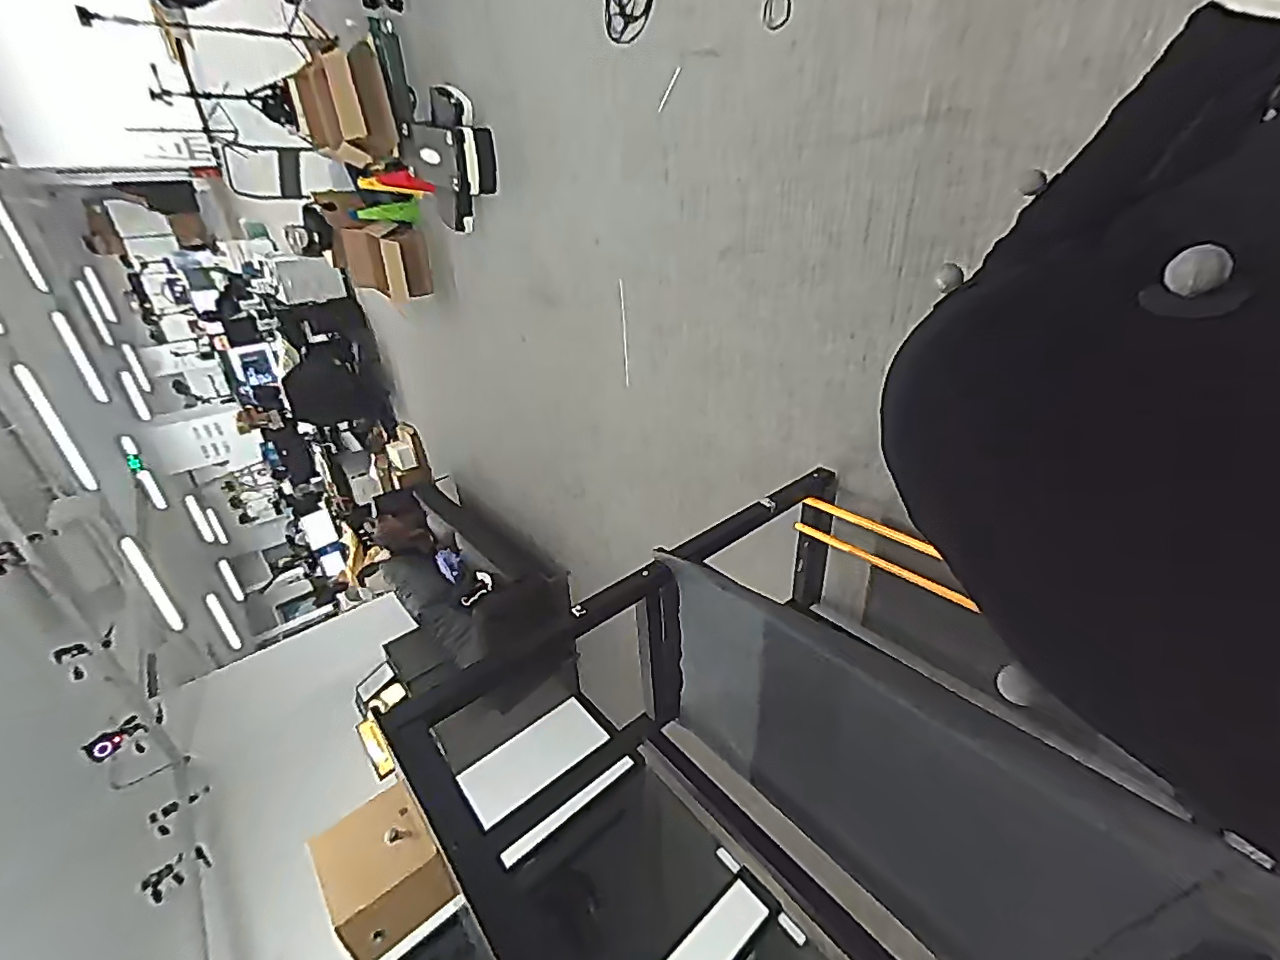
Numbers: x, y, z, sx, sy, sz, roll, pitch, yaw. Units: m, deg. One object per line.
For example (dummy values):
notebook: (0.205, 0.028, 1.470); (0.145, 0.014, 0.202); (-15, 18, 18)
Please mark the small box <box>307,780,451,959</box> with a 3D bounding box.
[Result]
small box: (-0.447, 0.679, 0.946); (0.168, 0.176, 0.179); (32, 133, 39)
